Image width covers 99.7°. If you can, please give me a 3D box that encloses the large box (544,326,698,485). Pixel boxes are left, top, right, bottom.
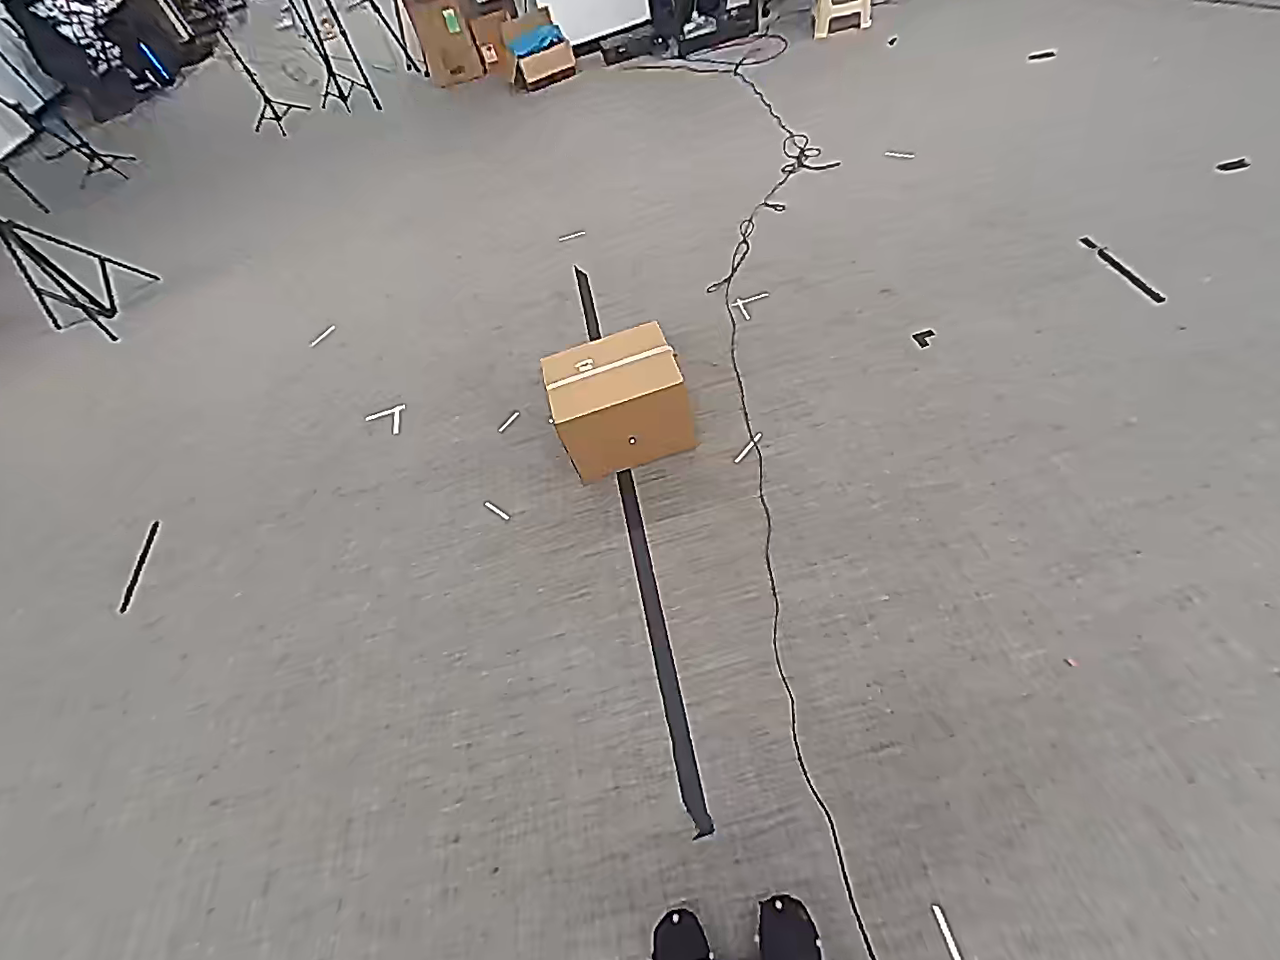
[{"bbox_3d":[-0.058,-0.239,1.784,0.408,0.320,0.320,-19,51,2],"label":"large box"}]
